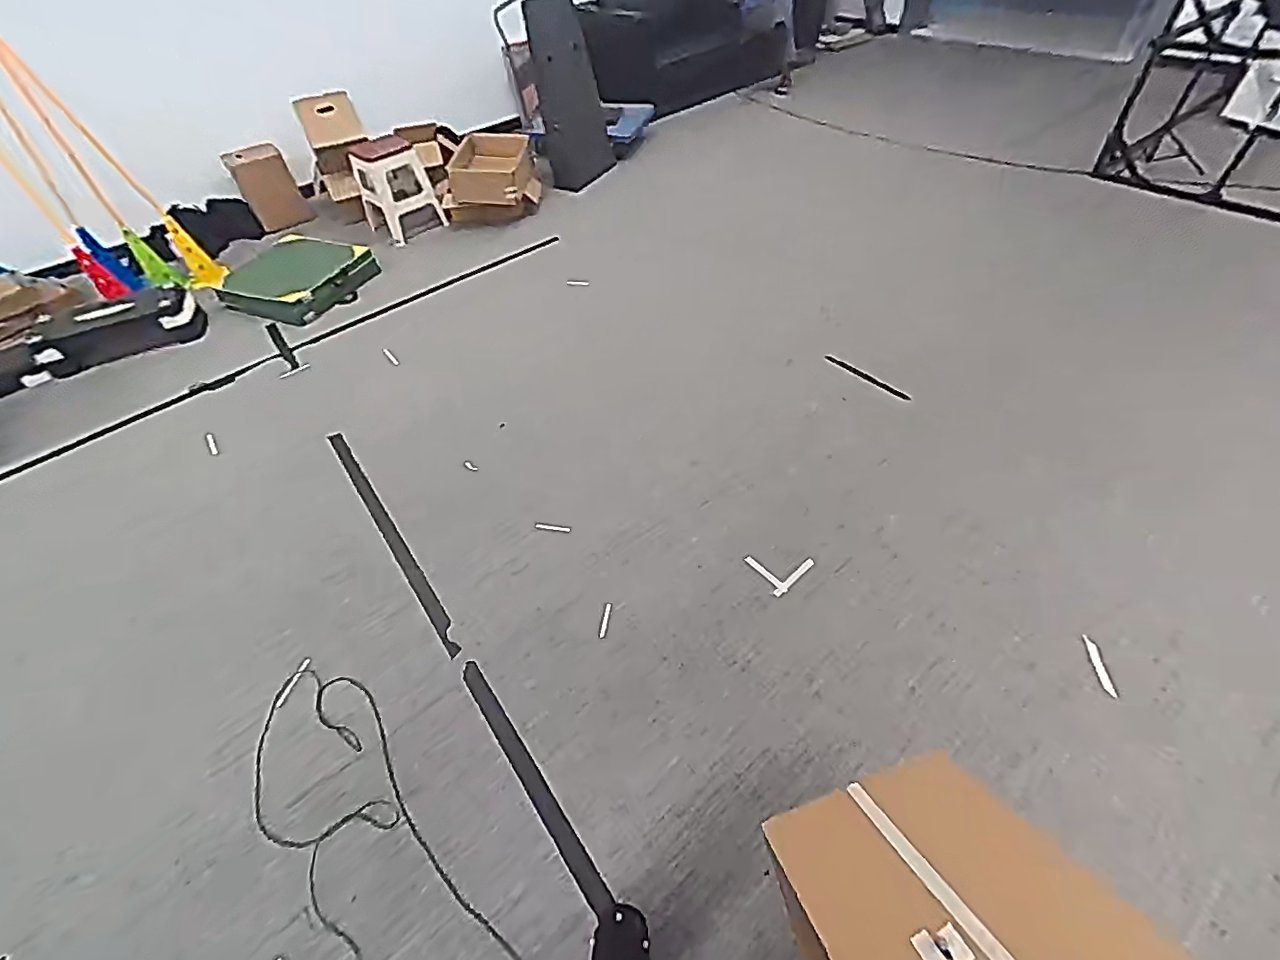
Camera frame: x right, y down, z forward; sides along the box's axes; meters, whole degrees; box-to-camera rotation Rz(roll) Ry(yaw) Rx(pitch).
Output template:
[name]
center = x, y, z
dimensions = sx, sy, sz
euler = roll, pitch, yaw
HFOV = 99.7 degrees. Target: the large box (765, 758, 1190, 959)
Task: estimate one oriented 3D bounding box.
[large box]
center = 0.406, 0.640, 0.664
dimensions = 0.320, 0.320, 0.408
euler = -20, 6, -7
